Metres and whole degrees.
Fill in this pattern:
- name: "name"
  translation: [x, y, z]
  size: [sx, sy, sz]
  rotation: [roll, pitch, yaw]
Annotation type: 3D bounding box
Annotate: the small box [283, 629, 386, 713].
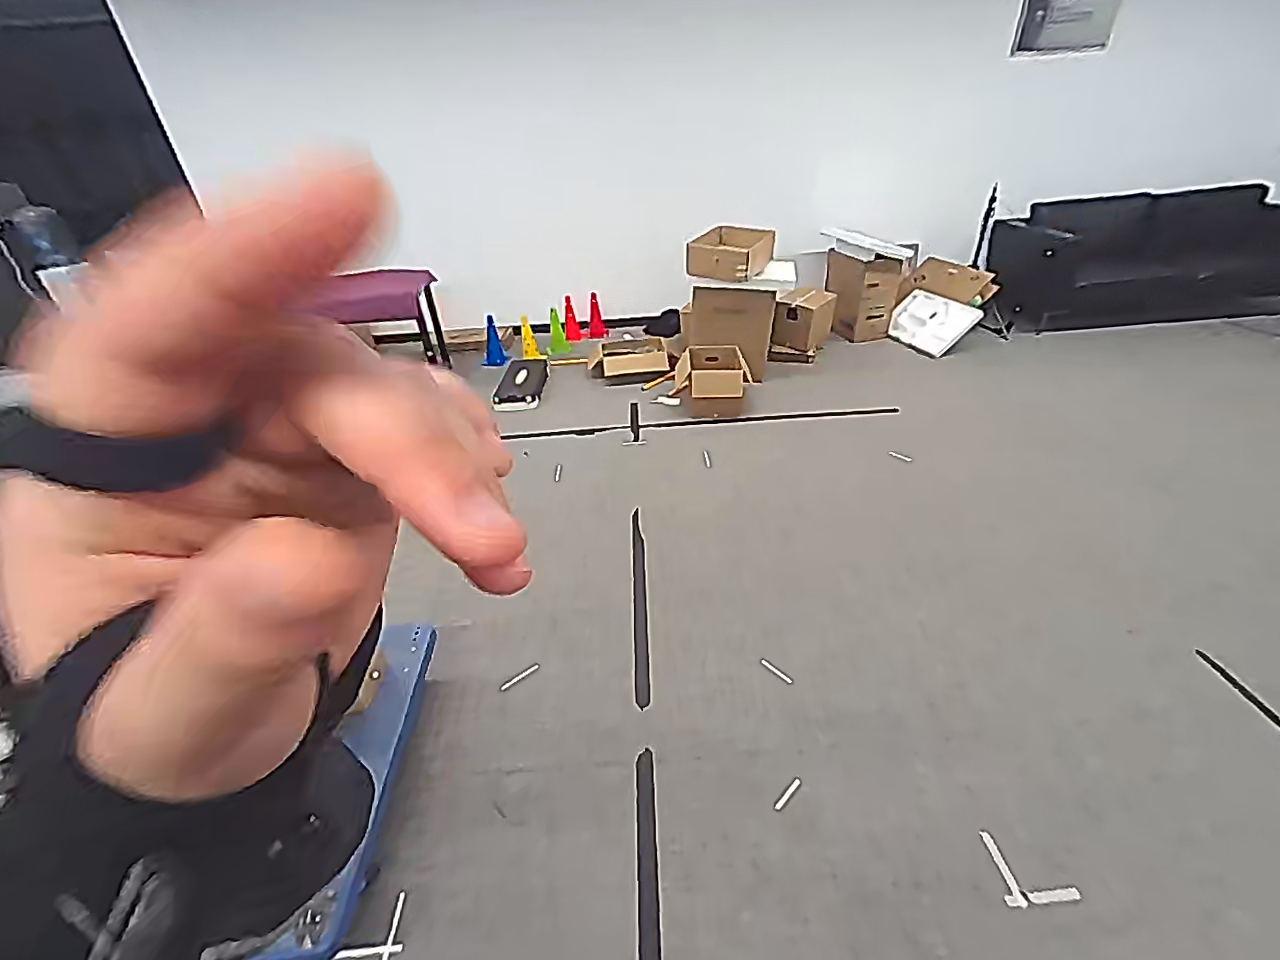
- name: "small box"
  translation: [-0.869, 0.552, 1.558]
  size: [0.179, 0.176, 0.168]
  rotation: [-2, 34, 2]
